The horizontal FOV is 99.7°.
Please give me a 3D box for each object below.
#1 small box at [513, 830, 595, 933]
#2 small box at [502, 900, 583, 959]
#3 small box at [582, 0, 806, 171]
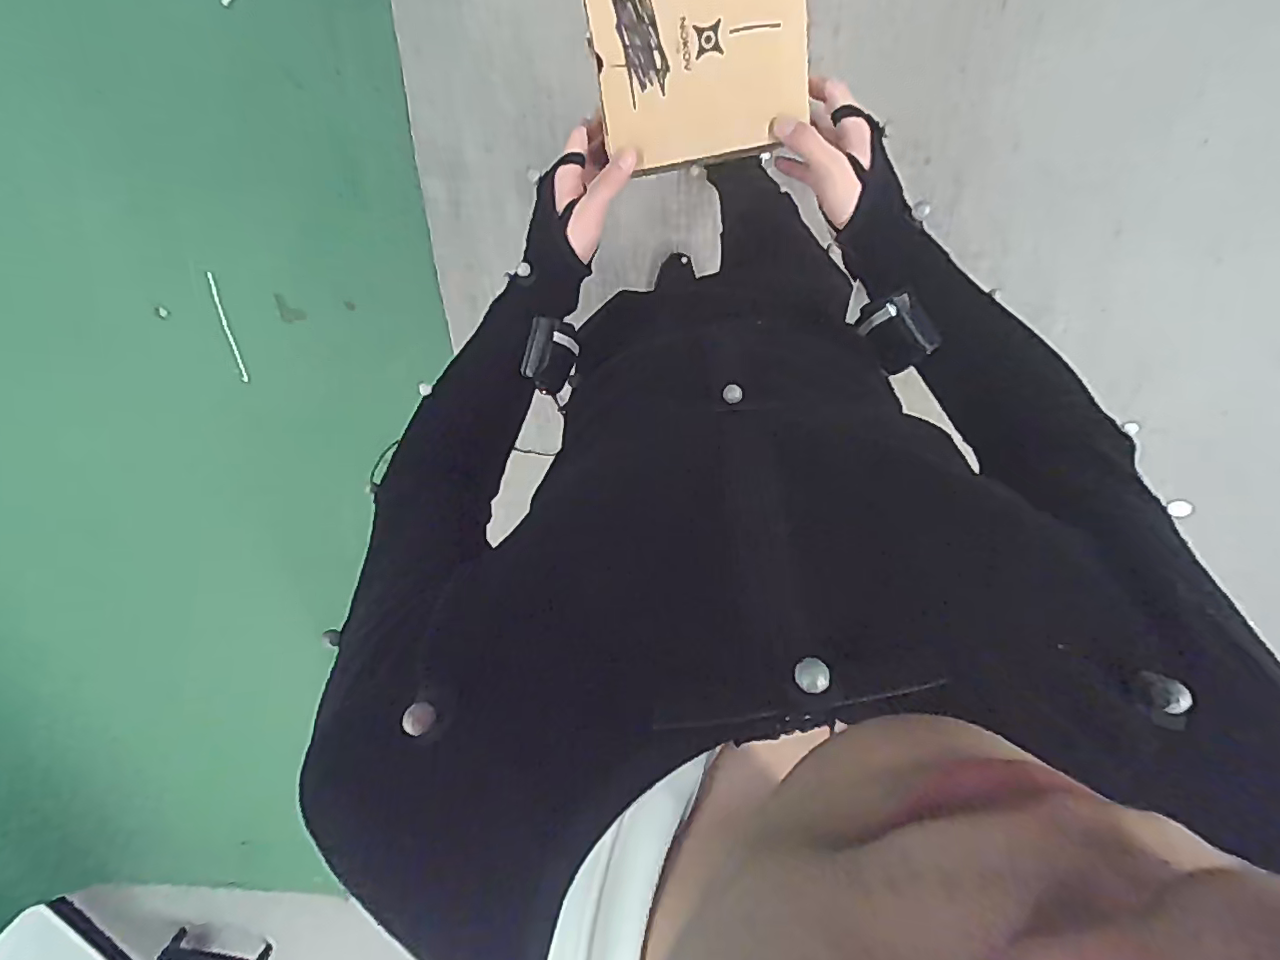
[{"bbox_3d":[-0.223,1.068,1.447,0.179,0.176,0.168,0,119,4],"label":"small box"},{"bbox_3d":[-0.233,1.149,1.305,0.179,0.176,0.168,1,118,3],"label":"small box"},{"bbox_3d":[0.049,-0.401,0.510,0.179,0.176,0.168,-8,117,6],"label":"small box"}]
